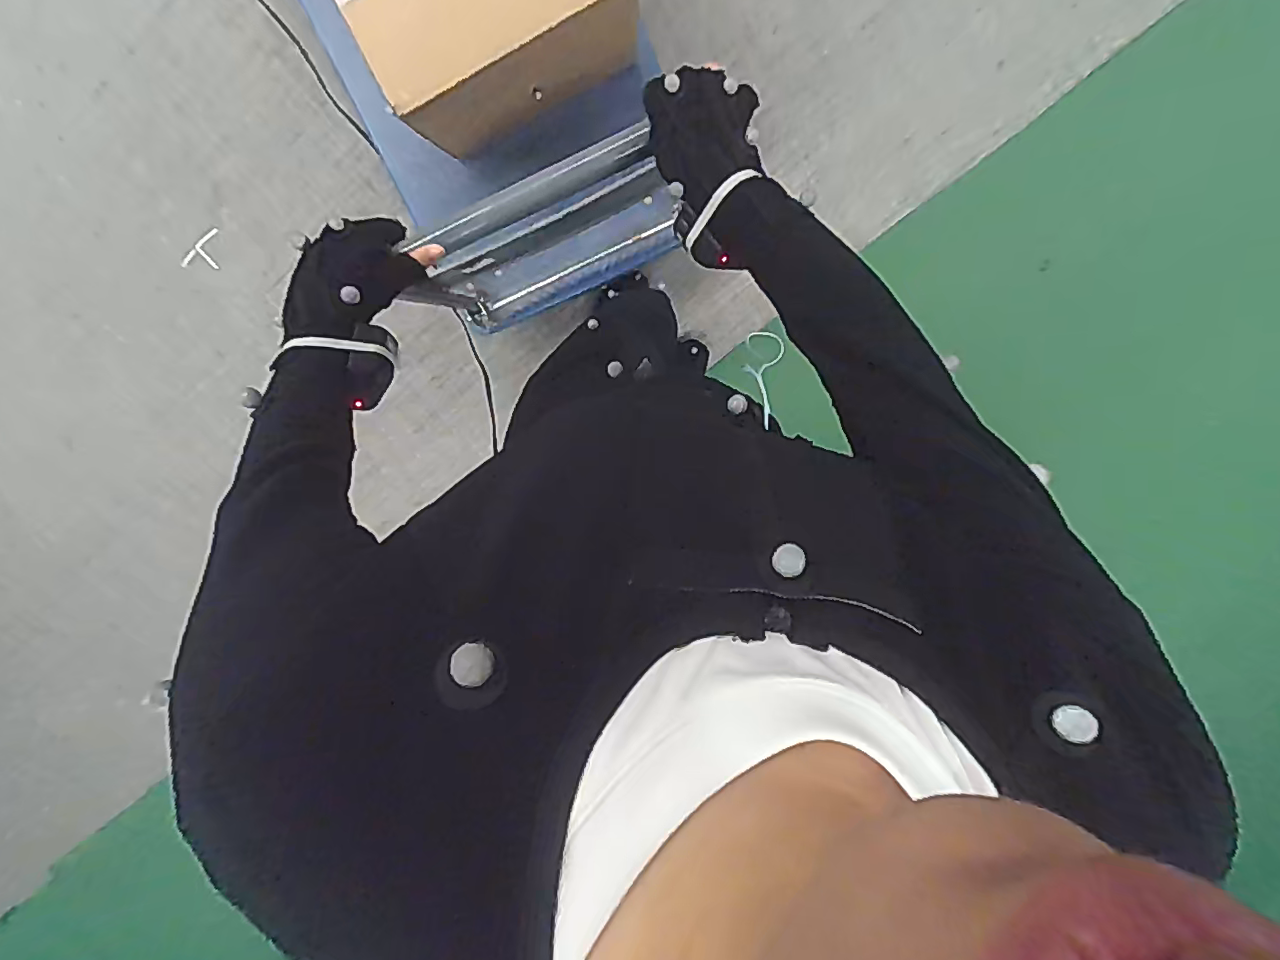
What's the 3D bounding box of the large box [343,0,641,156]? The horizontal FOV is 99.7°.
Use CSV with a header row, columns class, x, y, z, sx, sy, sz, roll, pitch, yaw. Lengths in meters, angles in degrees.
class,x,y,z,sx,sy,sz,roll,pitch,yaw
large box,-0.242,-0.815,0.893,0.408,0.320,0.320,-24,107,9
